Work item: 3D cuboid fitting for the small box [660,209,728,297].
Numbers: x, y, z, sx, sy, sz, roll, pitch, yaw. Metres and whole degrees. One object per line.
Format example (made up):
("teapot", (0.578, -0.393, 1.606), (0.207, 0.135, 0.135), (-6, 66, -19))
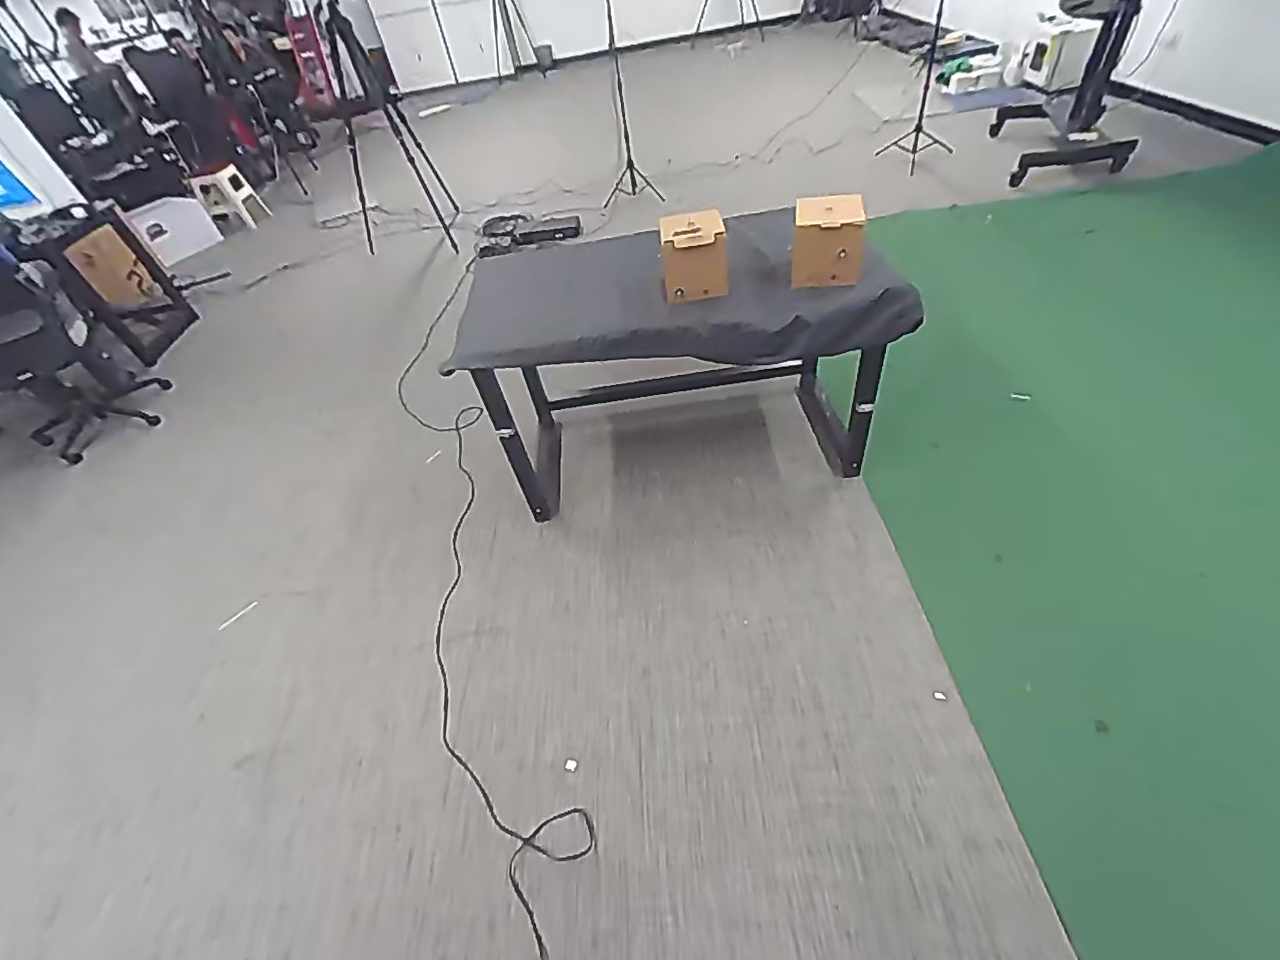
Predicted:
("small box", (0.148, -0.613, 1.478), (0.168, 0.176, 0.179), (-6, 45, 5))

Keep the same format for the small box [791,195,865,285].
("small box", (0.492, -0.630, 1.430), (0.168, 0.176, 0.179), (3, 46, 13))
